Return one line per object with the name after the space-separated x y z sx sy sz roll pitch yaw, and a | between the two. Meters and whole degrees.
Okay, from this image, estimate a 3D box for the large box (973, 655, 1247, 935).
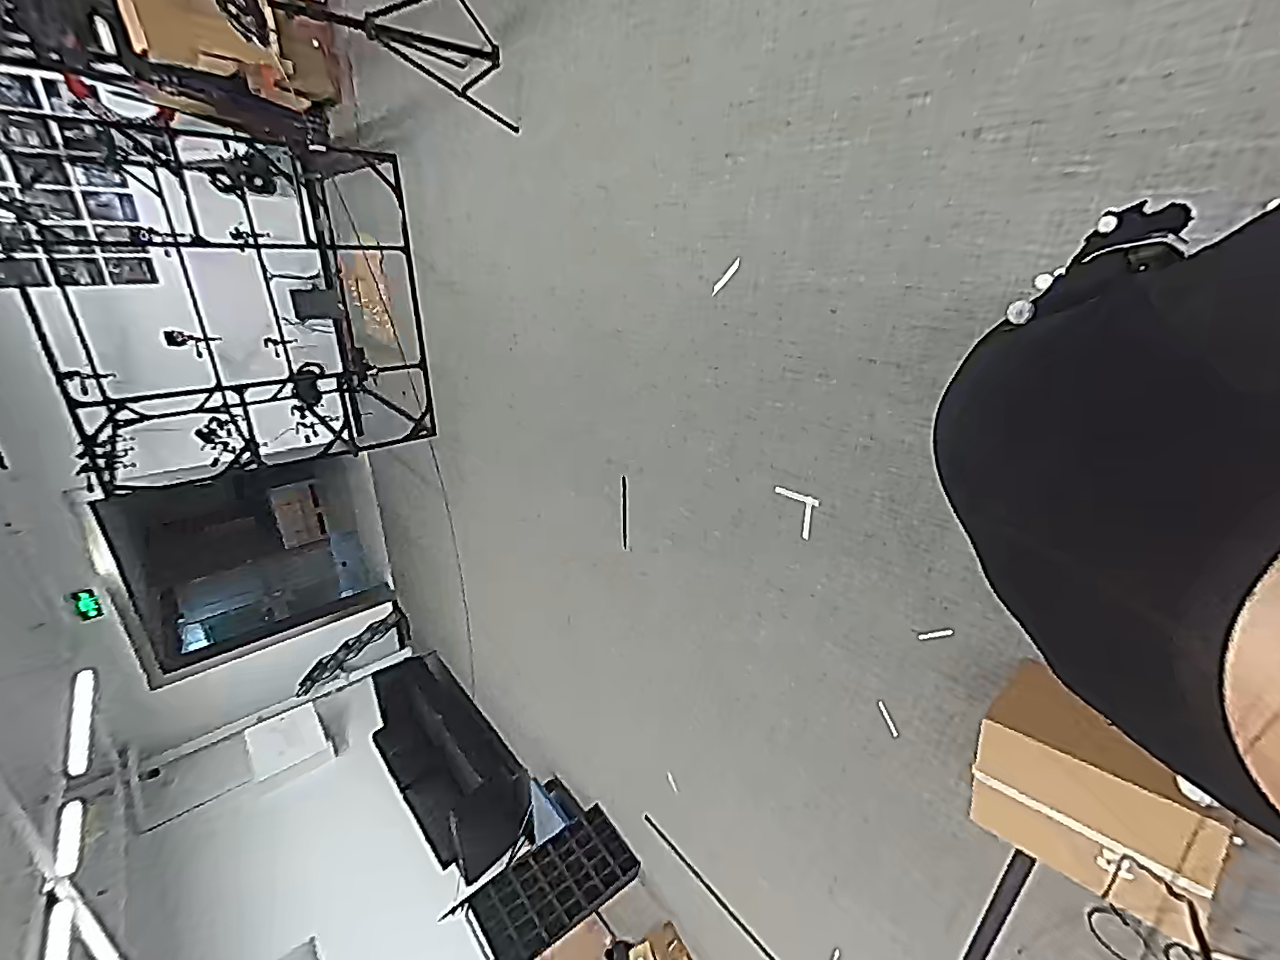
1.045 0.664 1.231 0.408 0.320 0.320 15 116 47 | large box
